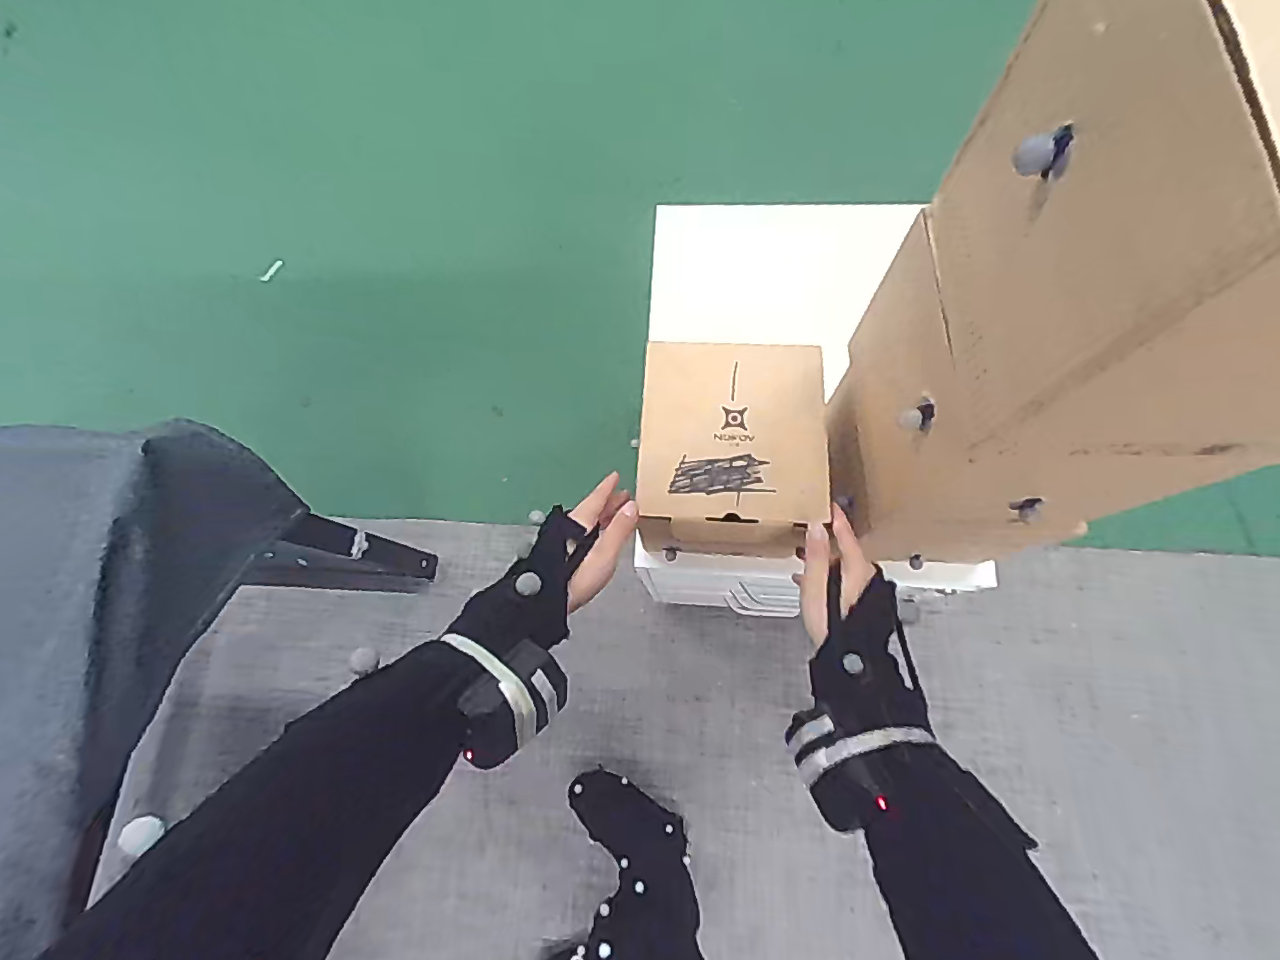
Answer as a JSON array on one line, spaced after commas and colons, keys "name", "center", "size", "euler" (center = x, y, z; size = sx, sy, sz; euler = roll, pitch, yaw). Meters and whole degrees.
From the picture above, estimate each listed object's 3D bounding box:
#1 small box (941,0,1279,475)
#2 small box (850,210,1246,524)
[{"name": "small box", "center": [0.255, -0.114, 0.233], "size": [0.168, 0.176, 0.179], "euler": [1, 72, 5]}, {"name": "small box", "center": [0.265, -0.066, 0.389], "size": [0.168, 0.176, 0.179], "euler": [-1, 73, 3]}]
